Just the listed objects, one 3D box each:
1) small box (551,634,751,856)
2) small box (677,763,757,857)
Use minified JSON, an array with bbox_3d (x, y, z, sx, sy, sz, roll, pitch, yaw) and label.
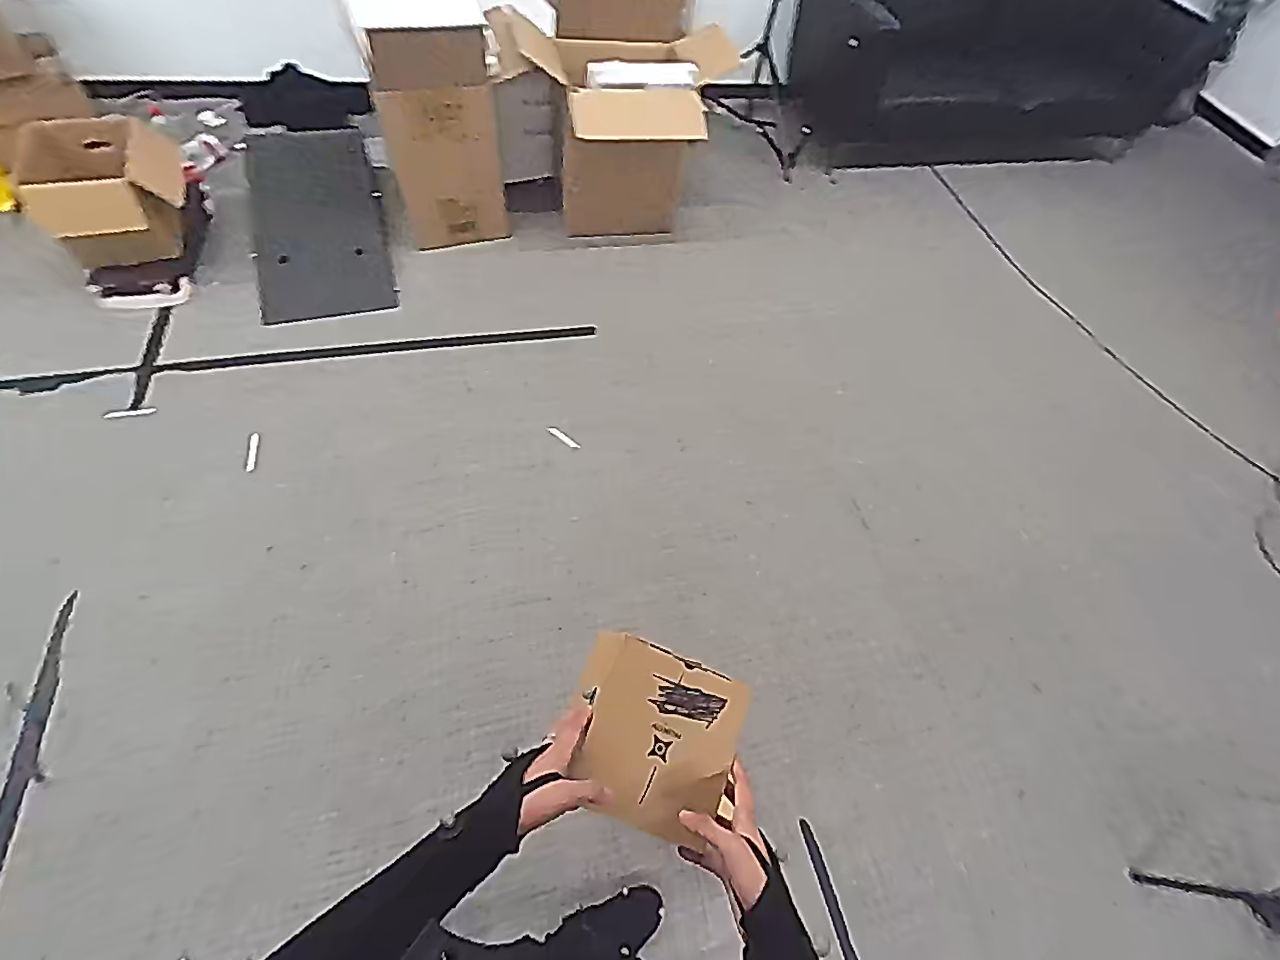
[{"bbox_3d":[0.003,0.296,0.646,0.168,0.176,0.179,26,71,-7],"label":"small box"},{"bbox_3d":[0.151,0.781,1.312,0.179,0.176,0.168,-18,61,-17],"label":"small box"}]
